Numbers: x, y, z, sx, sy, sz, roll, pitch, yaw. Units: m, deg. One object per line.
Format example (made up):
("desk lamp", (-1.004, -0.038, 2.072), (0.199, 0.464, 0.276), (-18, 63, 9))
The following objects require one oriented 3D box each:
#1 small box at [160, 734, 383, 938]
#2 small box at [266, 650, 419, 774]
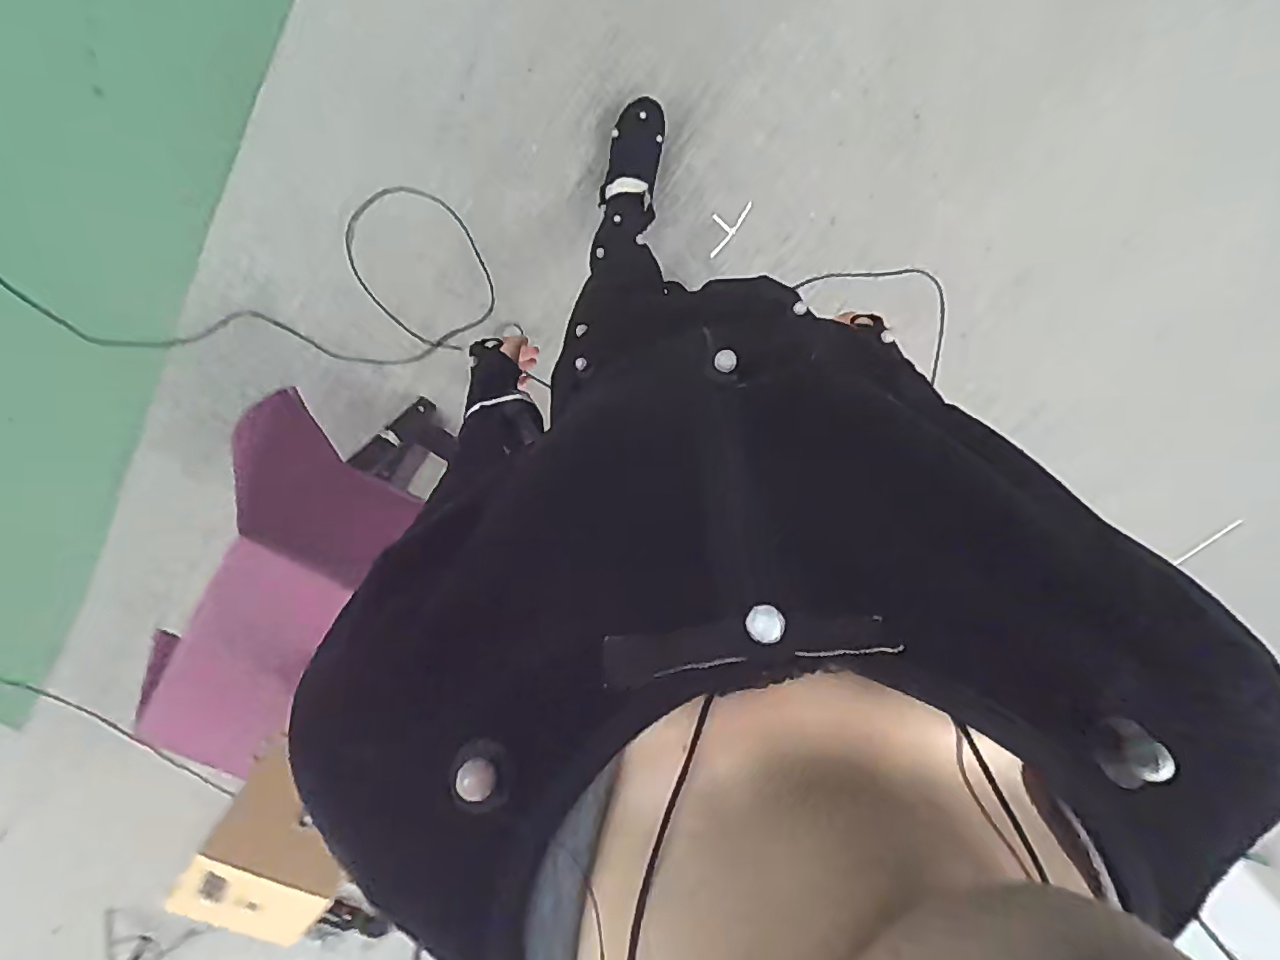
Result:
("small box", (-0.509, 0.495, 0.768), (0.179, 0.176, 0.168), (34, 114, -15))
("small box", (-0.507, 0.421, 0.915), (0.179, 0.176, 0.168), (32, 114, -15))
